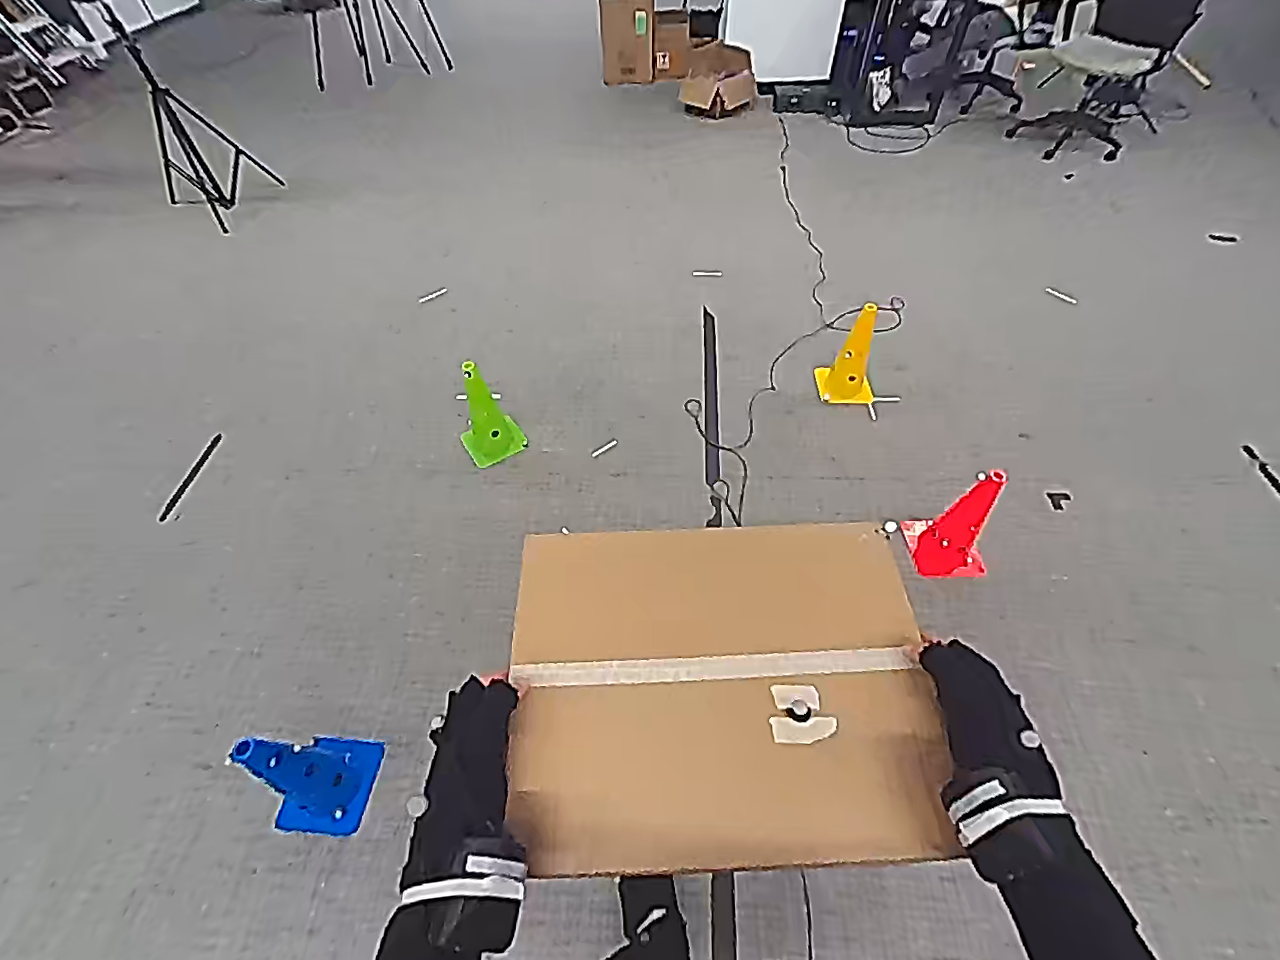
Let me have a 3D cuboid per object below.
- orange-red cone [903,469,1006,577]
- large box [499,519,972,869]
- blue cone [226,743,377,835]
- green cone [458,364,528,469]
[{"bbox_3d":[0.920,0.096,1.518,0.198,0.360,0.199,0,50,1],"label":"orange-red cone"},{"bbox_3d":[0.074,0.266,0.651,0.408,0.320,0.320,-2,54,-1],"label":"large box"},{"bbox_3d":[-0.751,0.637,1.172,0.192,0.380,0.193,3,51,6],"label":"blue cone"},{"bbox_3d":[-0.542,-0.247,1.847,0.202,0.368,0.200,-30,56,-18],"label":"green cone"}]
